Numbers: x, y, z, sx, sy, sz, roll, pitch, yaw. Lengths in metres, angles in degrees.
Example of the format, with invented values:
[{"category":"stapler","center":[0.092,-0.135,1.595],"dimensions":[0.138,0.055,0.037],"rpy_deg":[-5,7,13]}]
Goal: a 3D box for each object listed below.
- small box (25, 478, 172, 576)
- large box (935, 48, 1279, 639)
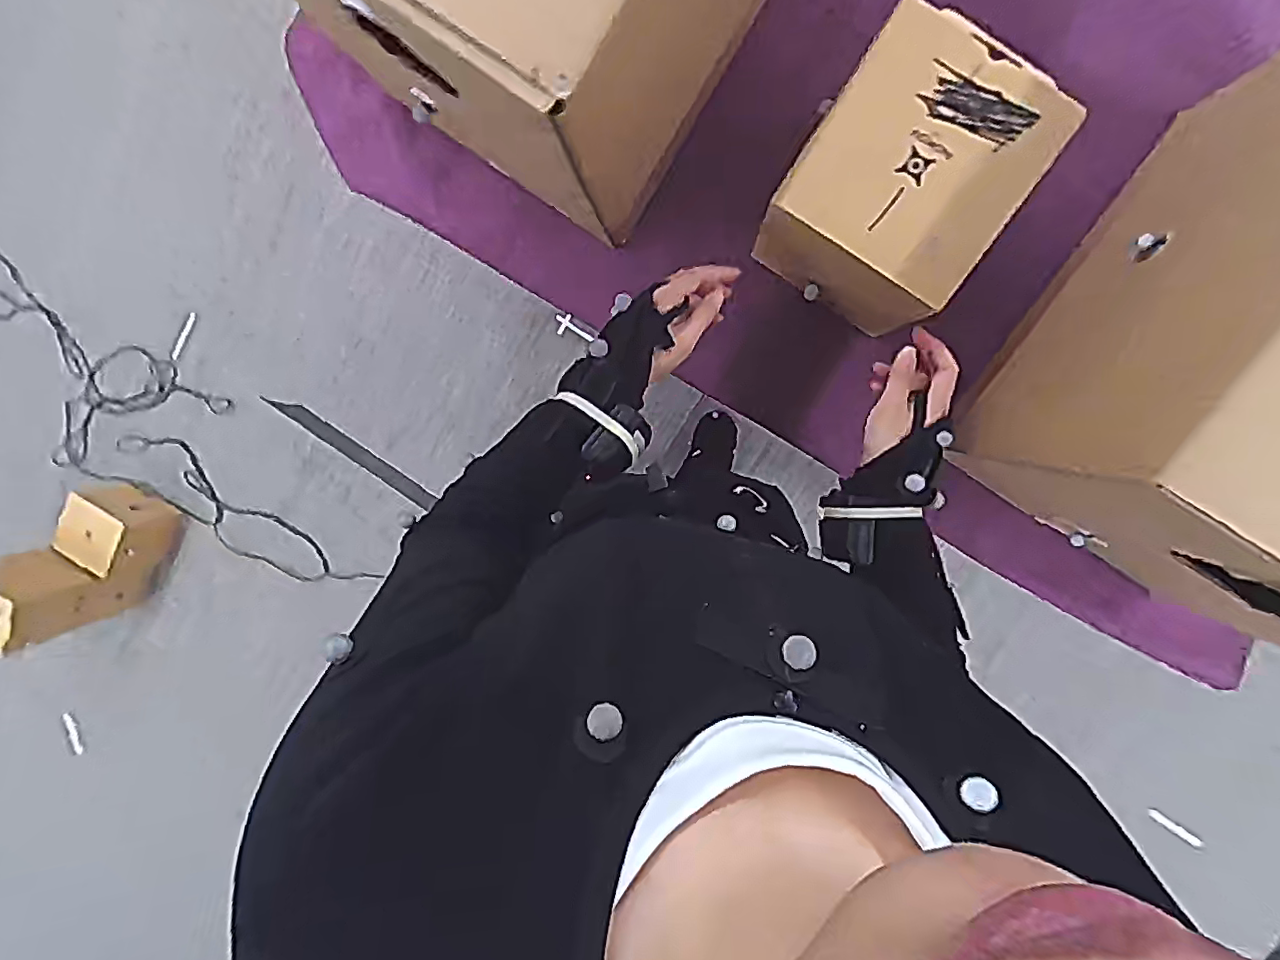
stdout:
[{"category":"small box","center":[-1.404,0.121,1.407],"dimensions":[0.168,0.176,0.179],"rpy_deg":[-33,104,-4]},{"category":"large box","center":[0.534,-0.100,0.421],"dimensions":[0.320,0.320,0.408],"rpy_deg":[33,99,0]}]
